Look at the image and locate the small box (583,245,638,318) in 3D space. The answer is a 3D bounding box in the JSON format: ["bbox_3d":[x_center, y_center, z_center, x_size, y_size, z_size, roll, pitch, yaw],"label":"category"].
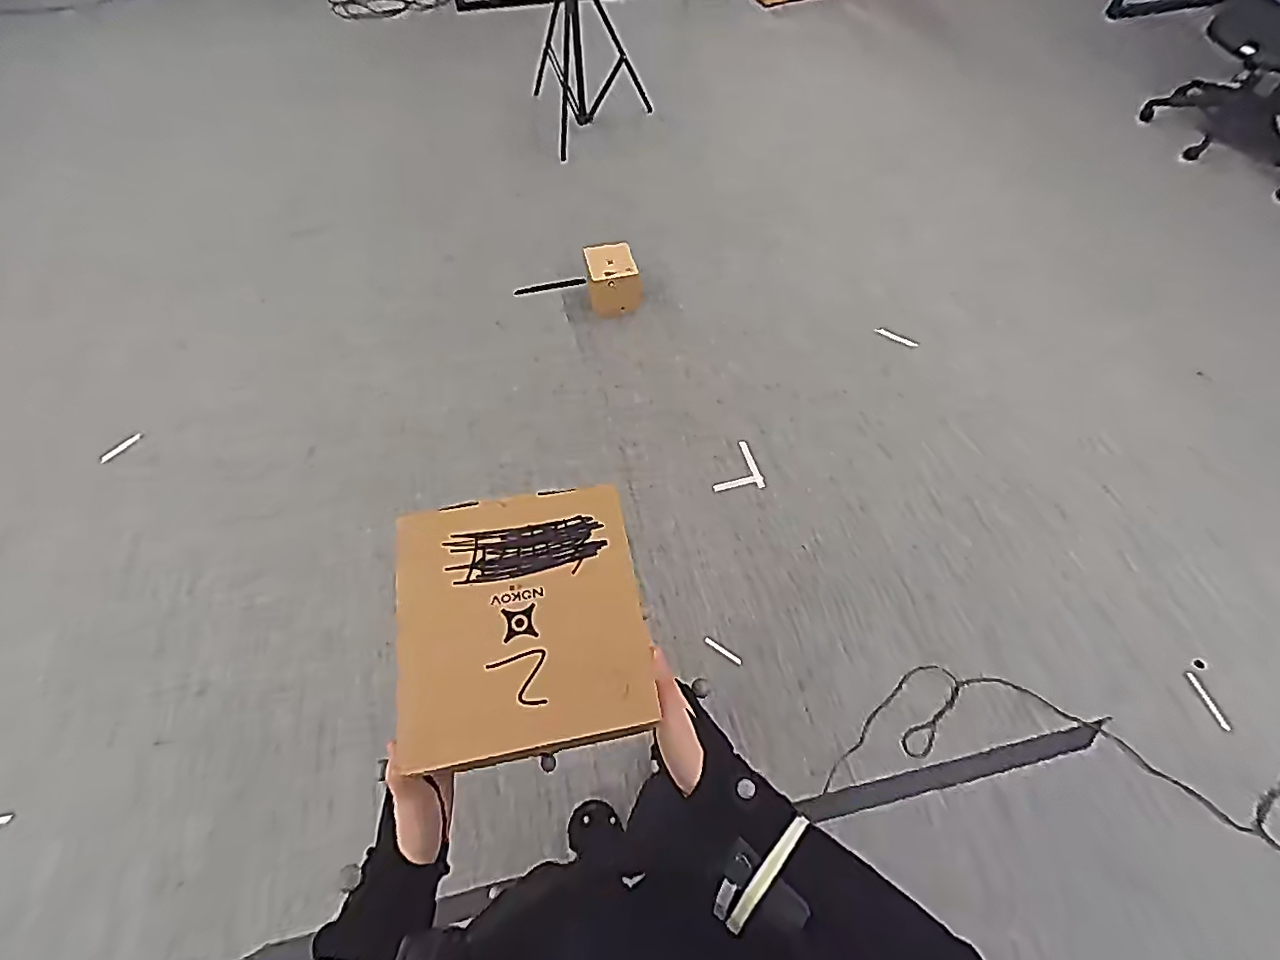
[{"bbox_3d":[-0.110,-0.723,1.974,0.168,0.176,0.179,-13,60,-8],"label":"small box"}]
